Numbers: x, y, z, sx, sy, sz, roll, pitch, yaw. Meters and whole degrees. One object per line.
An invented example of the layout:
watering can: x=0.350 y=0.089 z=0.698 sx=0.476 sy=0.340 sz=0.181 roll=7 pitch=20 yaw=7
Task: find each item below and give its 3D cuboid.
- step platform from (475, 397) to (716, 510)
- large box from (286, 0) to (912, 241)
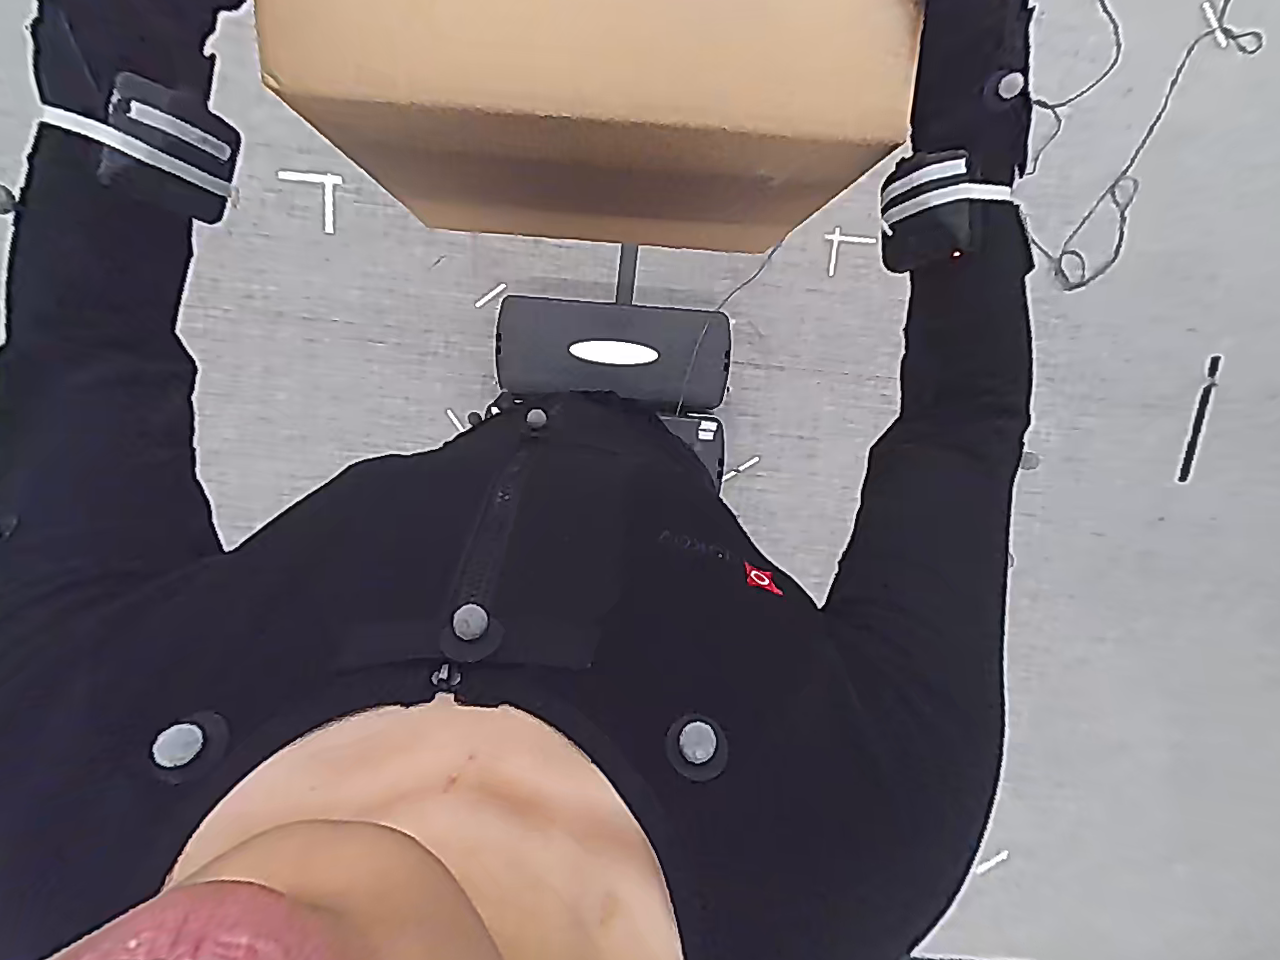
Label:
step platform: x=-0.122 y=-0.077 z=1.565 sx=0.684 sy=0.204 sz=0.286 roll=3 pitch=98 yaw=-1
large box: x=-0.029 y=-0.416 z=0.473 sx=0.408 sy=0.320 sz=0.320 roll=1 pitch=101 yaw=-5
